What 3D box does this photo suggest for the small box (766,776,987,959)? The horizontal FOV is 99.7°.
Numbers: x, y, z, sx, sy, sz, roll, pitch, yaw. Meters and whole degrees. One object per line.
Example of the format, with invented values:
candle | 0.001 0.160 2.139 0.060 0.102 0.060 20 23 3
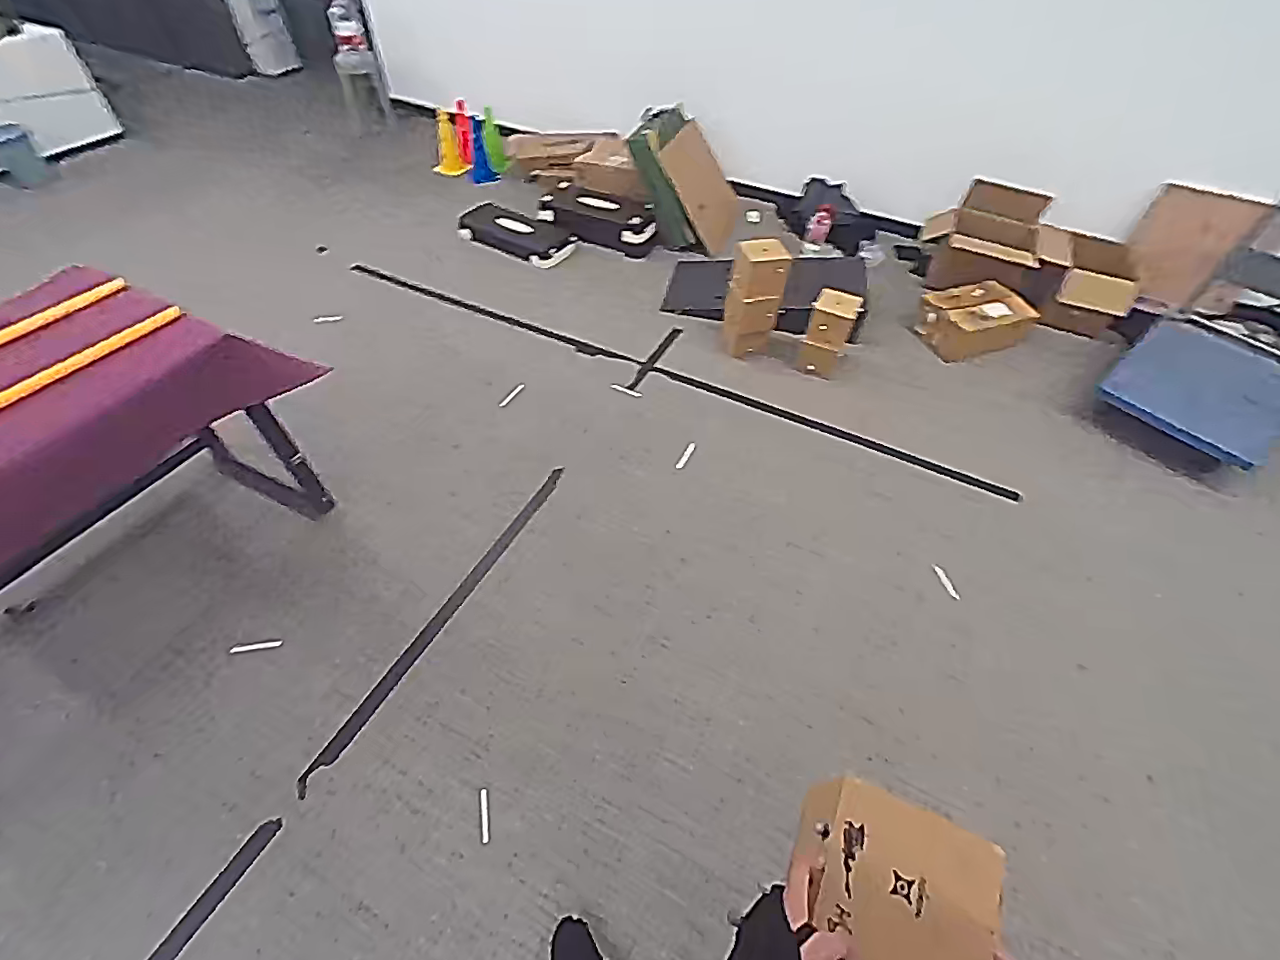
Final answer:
small box | 0.270 0.480 0.642 0.179 0.176 0.168 22 59 14
